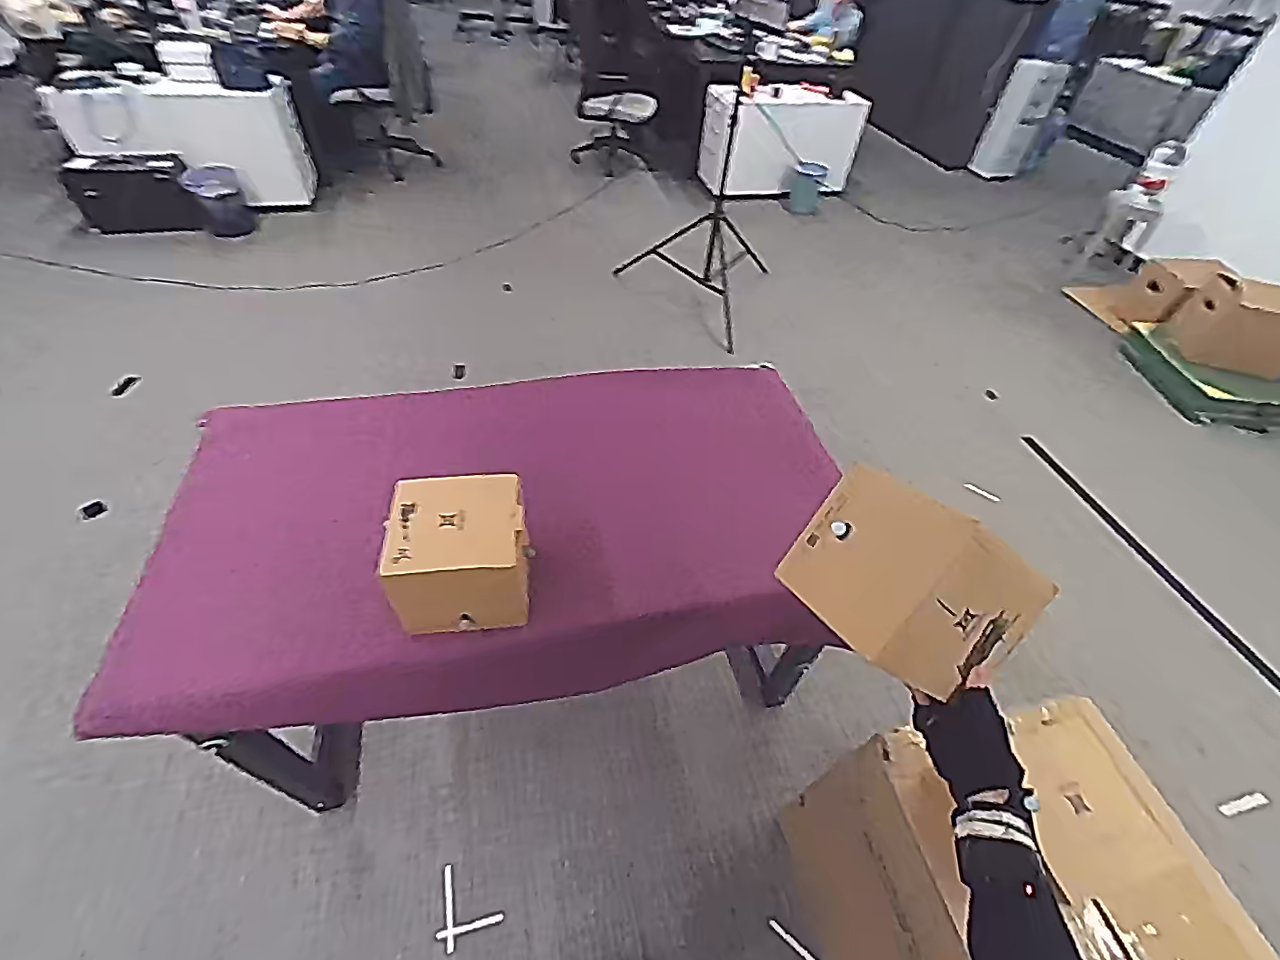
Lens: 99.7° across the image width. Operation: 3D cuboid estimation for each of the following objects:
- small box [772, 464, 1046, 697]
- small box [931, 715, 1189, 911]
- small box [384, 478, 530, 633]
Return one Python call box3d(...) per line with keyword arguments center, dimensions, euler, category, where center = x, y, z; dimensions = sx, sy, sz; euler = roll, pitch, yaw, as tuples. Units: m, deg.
box3d(center=(0.287, 0.103, 0.605), dimensions=(0.179, 0.168, 0.176), euler=(30, 7, -26), category="small box")
box3d(center=(0.534, 0.444, 0.722), dimensions=(0.168, 0.176, 0.179), euler=(-10, 51, -10), category="small box")
box3d(center=(-0.258, 0.114, 0.814), dimensions=(0.179, 0.176, 0.168), euler=(-2, 47, -8), category="small box")
